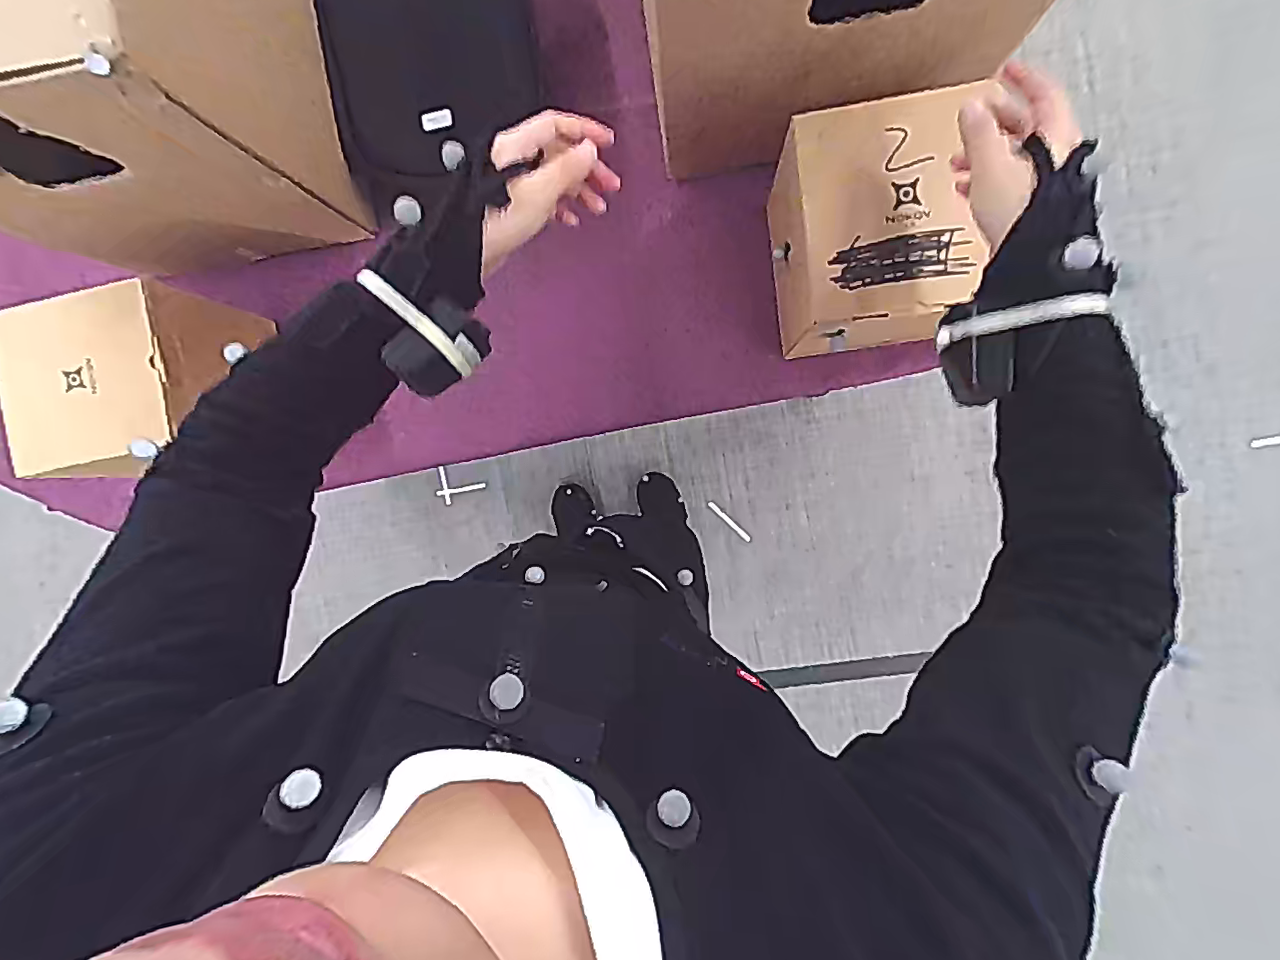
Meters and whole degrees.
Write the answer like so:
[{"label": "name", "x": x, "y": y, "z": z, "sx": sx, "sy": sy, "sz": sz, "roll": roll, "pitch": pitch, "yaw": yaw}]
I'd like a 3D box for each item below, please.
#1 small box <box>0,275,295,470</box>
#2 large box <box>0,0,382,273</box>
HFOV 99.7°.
[{"label": "small box", "x": -0.537, "y": -0.105, "z": 0.608, "sx": 0.179, "sy": 0.176, "sz": 0.168, "roll": -11, "pitch": 91, "yaw": 5}, {"label": "large box", "x": -0.504, "y": -0.465, "z": 0.518, "sx": 0.320, "sy": 0.320, "sz": 0.408, "roll": -8, "pitch": 95, "yaw": 6}]
